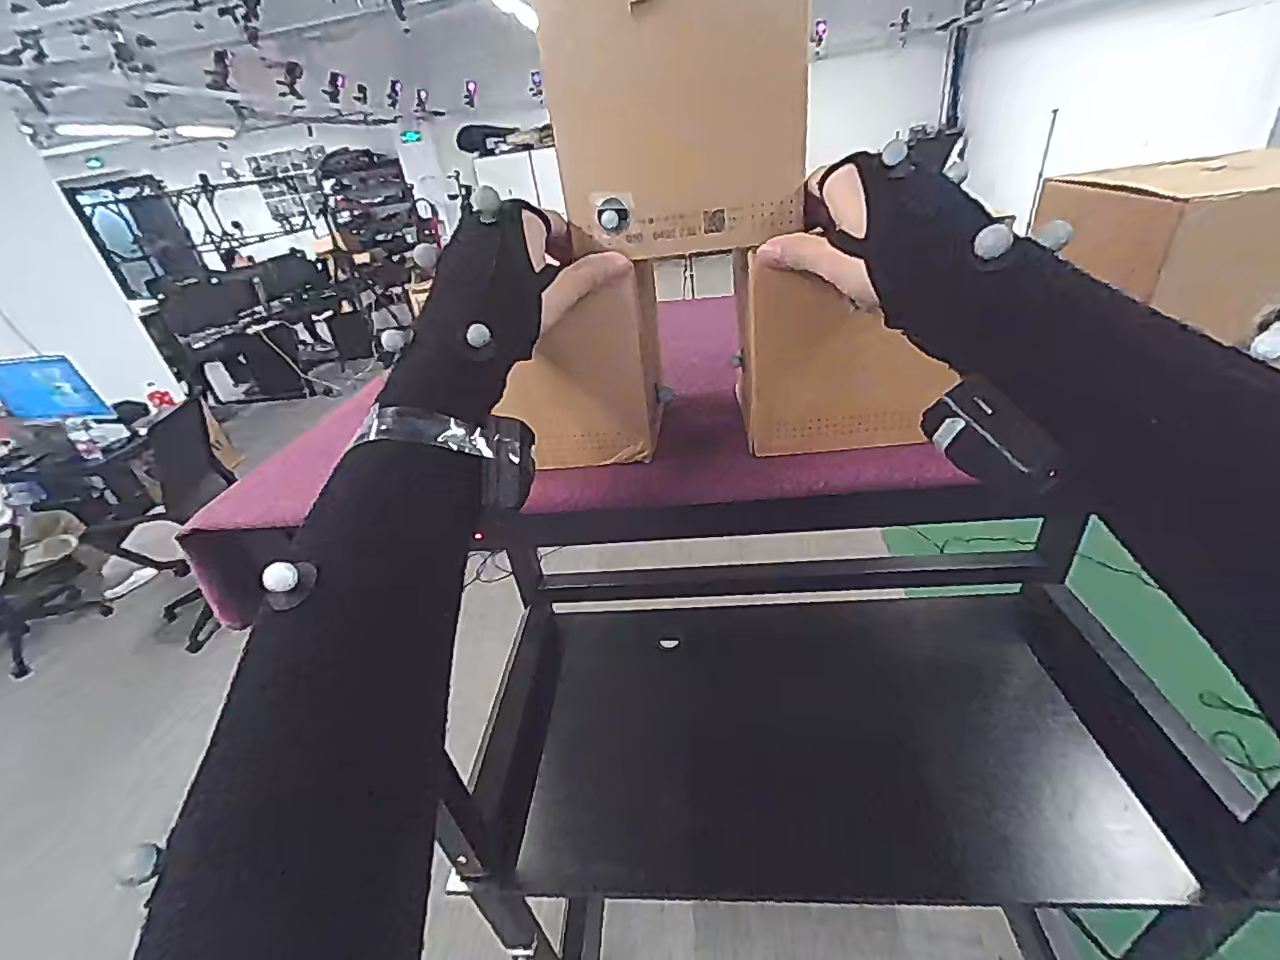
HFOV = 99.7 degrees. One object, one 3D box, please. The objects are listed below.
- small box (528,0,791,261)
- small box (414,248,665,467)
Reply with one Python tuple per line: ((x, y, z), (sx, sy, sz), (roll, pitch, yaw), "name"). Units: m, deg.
((0.028, -0.277, 0.434), (0.168, 0.176, 0.179), (-3, 29, 8), "small box")
((-0.076, -0.121, 0.520), (0.179, 0.176, 0.168), (-3, 30, 9), "small box")
